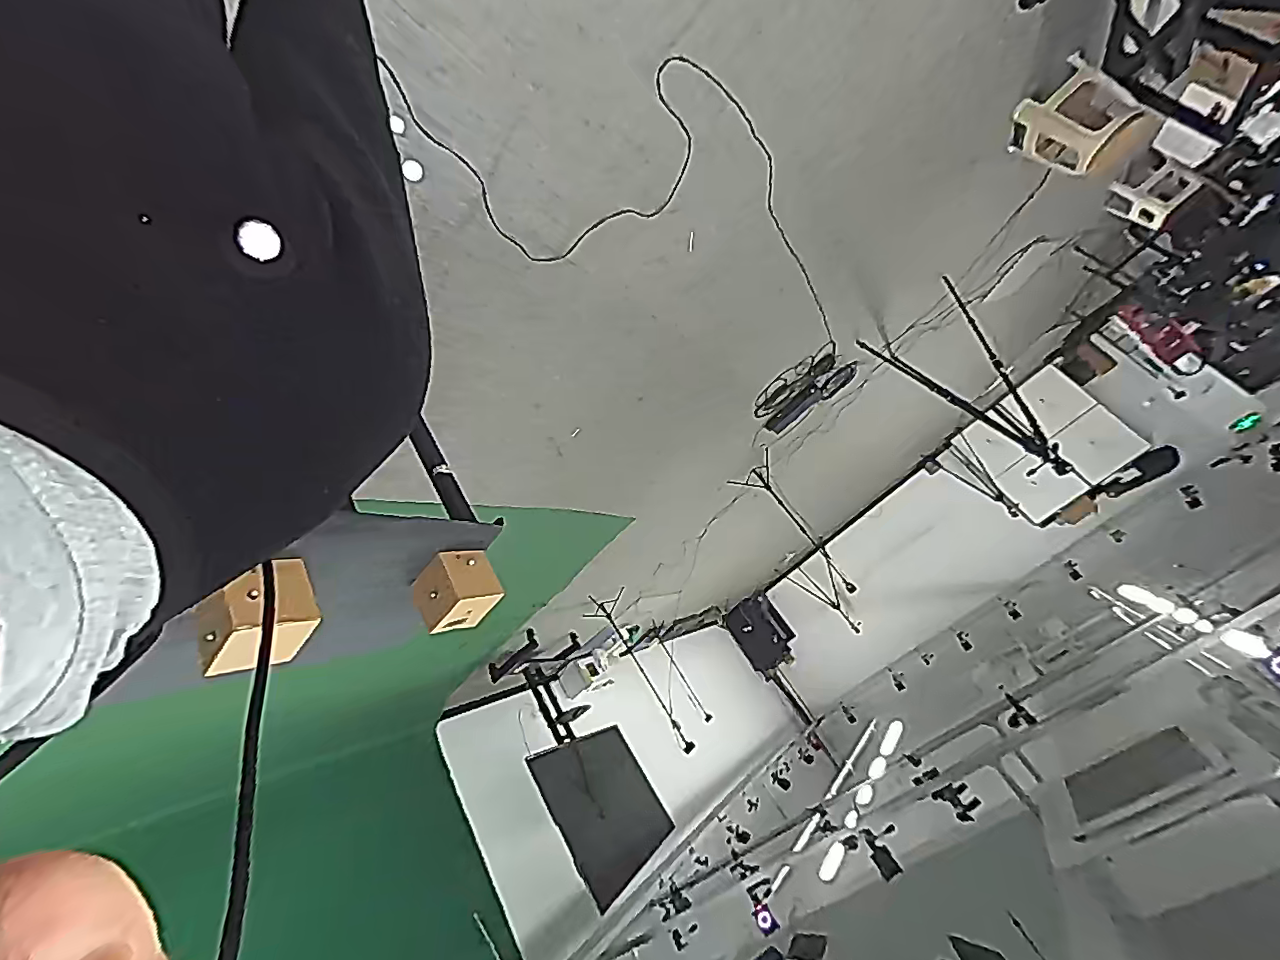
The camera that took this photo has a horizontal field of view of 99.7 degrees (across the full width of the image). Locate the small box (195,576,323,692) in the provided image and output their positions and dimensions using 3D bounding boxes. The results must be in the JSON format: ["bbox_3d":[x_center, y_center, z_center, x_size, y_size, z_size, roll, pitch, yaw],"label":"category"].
[{"bbox_3d":[-0.823,0.319,1.163,0.179,0.176,0.168,-45,153,23],"label":"small box"}]

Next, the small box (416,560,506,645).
[{"bbox_3d":[-0.535,0.357,1.598,0.179,0.176,0.168,-47,153,21],"label":"small box"}]
